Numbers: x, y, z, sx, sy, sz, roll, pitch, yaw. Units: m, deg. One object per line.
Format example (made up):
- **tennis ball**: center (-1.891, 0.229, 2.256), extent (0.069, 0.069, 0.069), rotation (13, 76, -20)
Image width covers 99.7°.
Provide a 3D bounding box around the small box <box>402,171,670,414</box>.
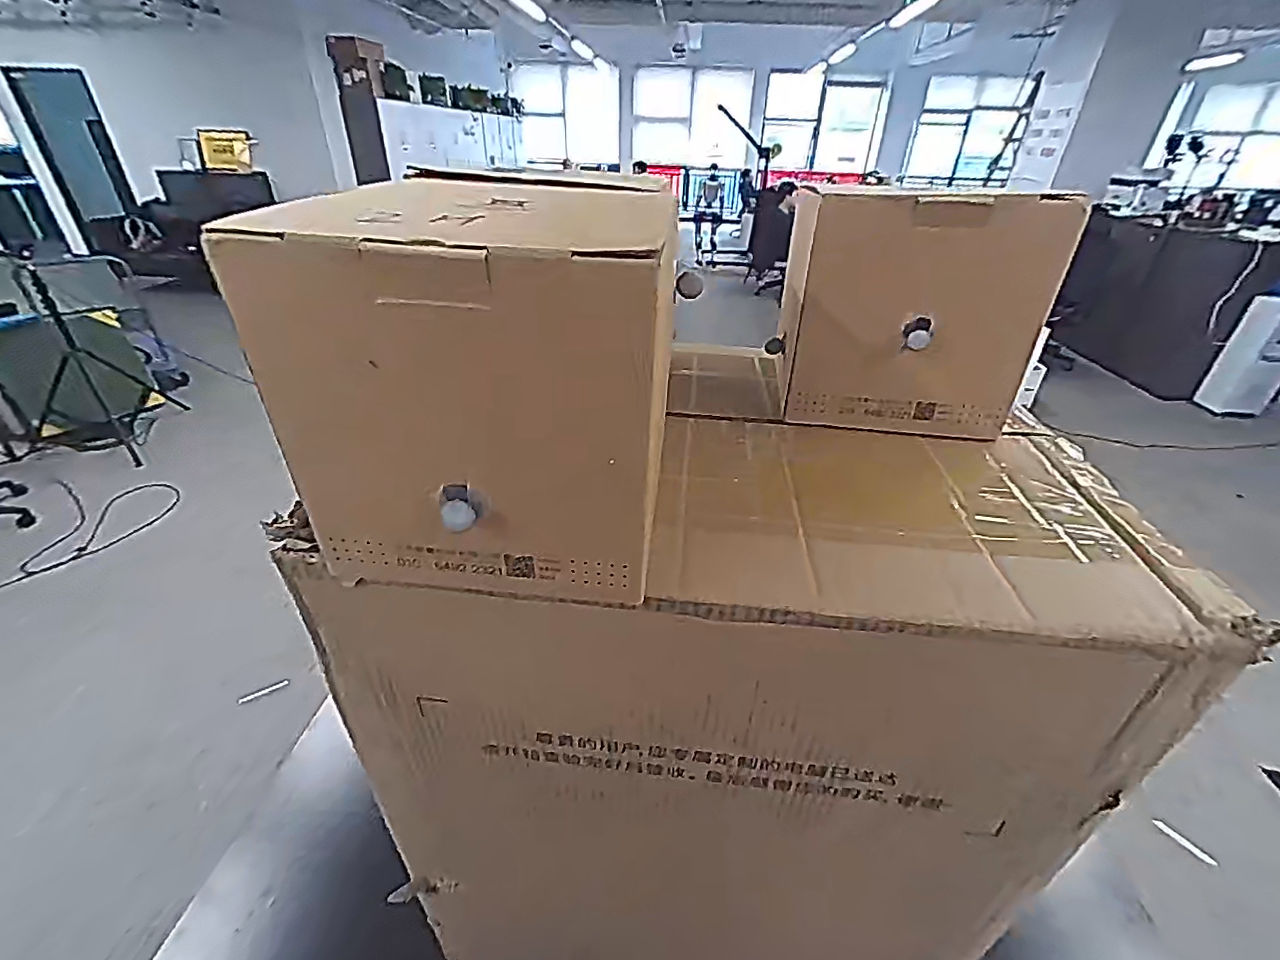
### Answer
- **small box**: center (-0.071, -0.167, 0.467), extent (0.179, 0.176, 0.168), rotation (6, 31, 4)
